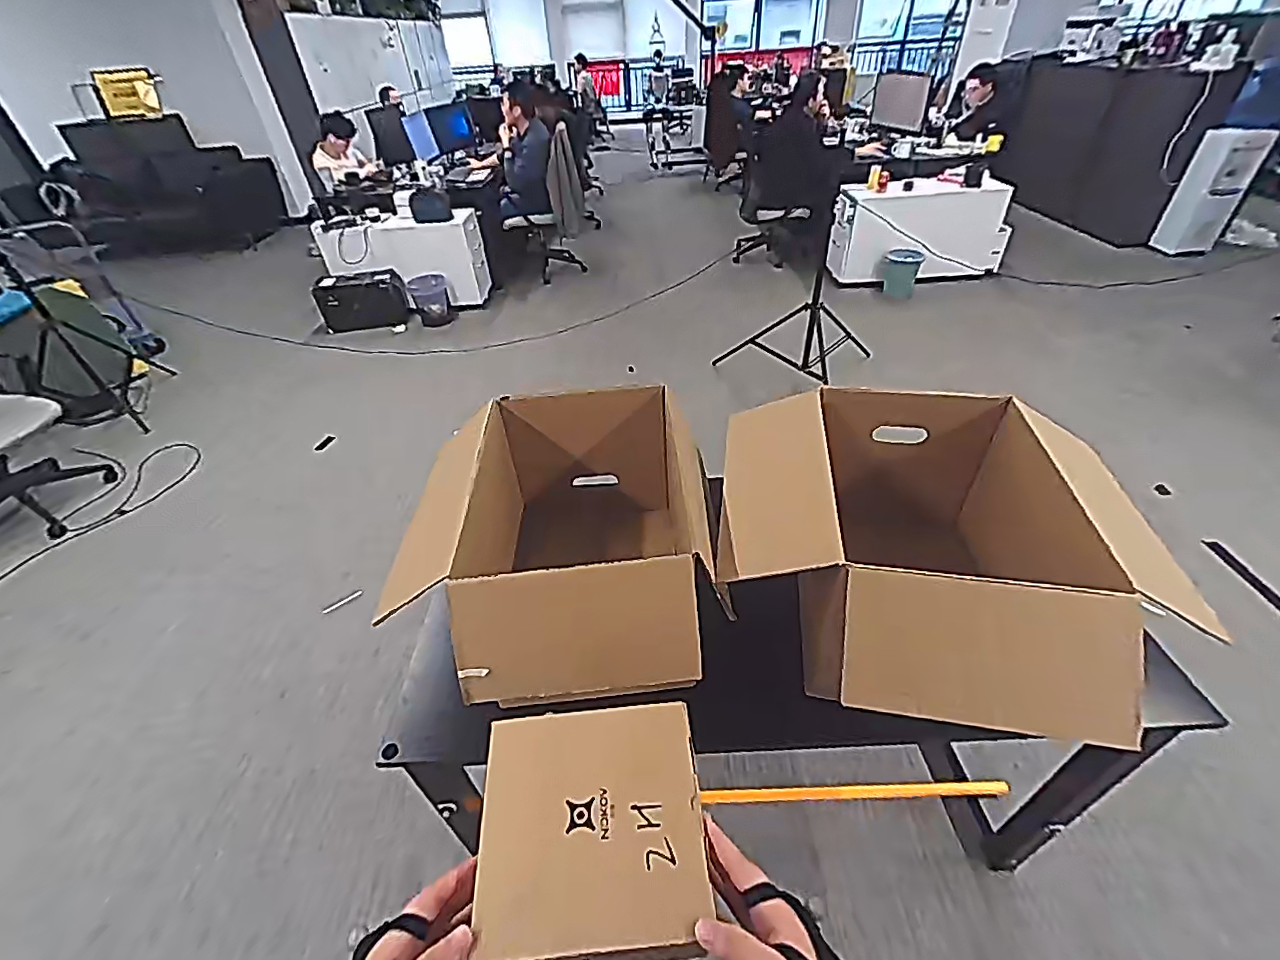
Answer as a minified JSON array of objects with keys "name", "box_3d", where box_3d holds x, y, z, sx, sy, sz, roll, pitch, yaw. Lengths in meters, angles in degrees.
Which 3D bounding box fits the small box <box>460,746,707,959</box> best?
[{"name":"small box","box_3d":[-0.040,0.352,0.469,0.179,0.176,0.168,-5,46,-2]}]
